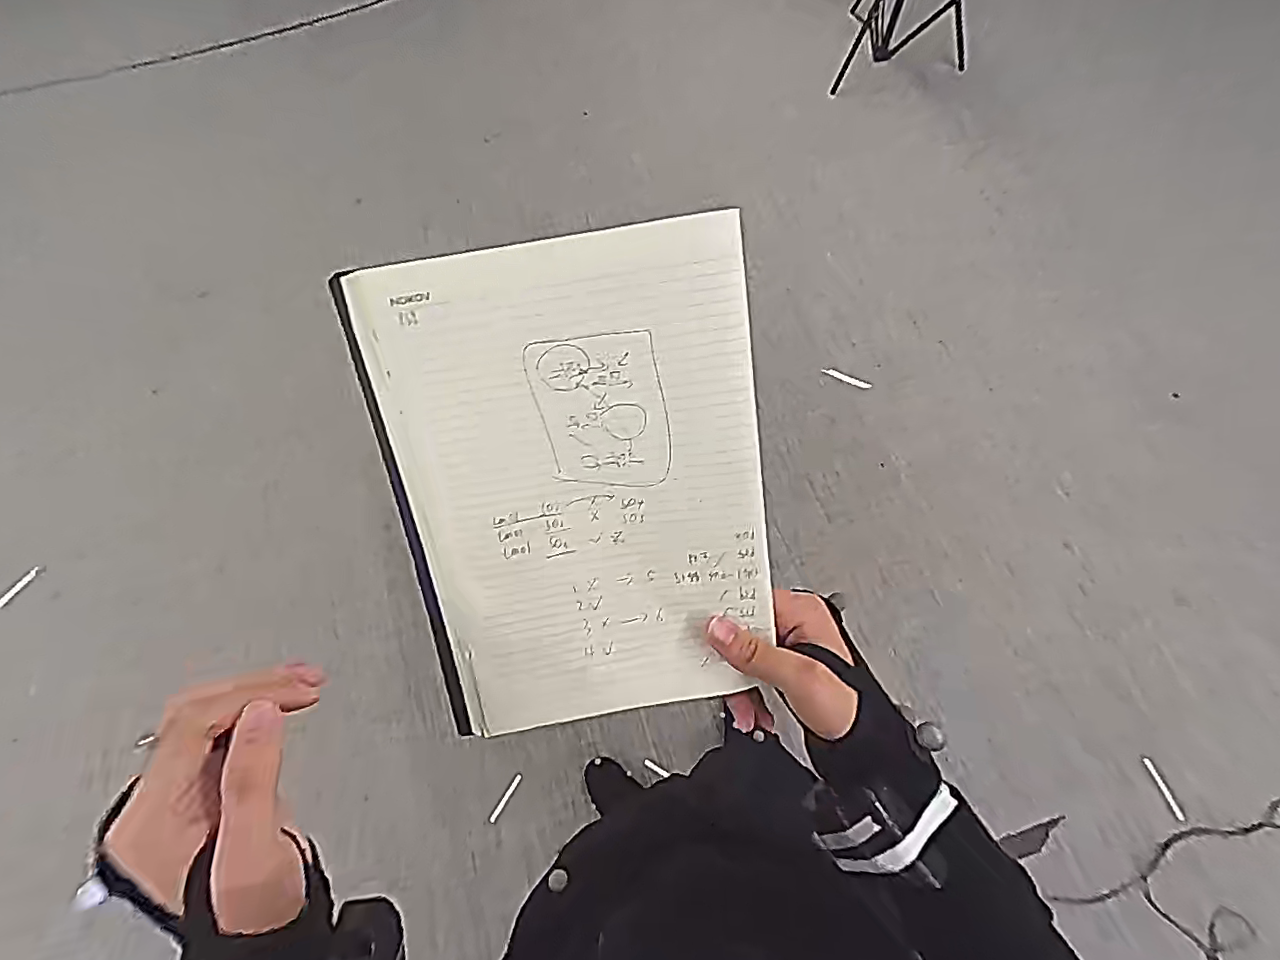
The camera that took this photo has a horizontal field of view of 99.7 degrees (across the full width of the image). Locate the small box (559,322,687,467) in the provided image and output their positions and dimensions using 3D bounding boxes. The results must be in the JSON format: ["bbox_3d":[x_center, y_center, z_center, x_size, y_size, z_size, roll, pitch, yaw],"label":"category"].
[{"bbox_3d":[-0.030,-0.153,1.012,0.179,0.176,0.168,-28,69,-9],"label":"small box"}]
